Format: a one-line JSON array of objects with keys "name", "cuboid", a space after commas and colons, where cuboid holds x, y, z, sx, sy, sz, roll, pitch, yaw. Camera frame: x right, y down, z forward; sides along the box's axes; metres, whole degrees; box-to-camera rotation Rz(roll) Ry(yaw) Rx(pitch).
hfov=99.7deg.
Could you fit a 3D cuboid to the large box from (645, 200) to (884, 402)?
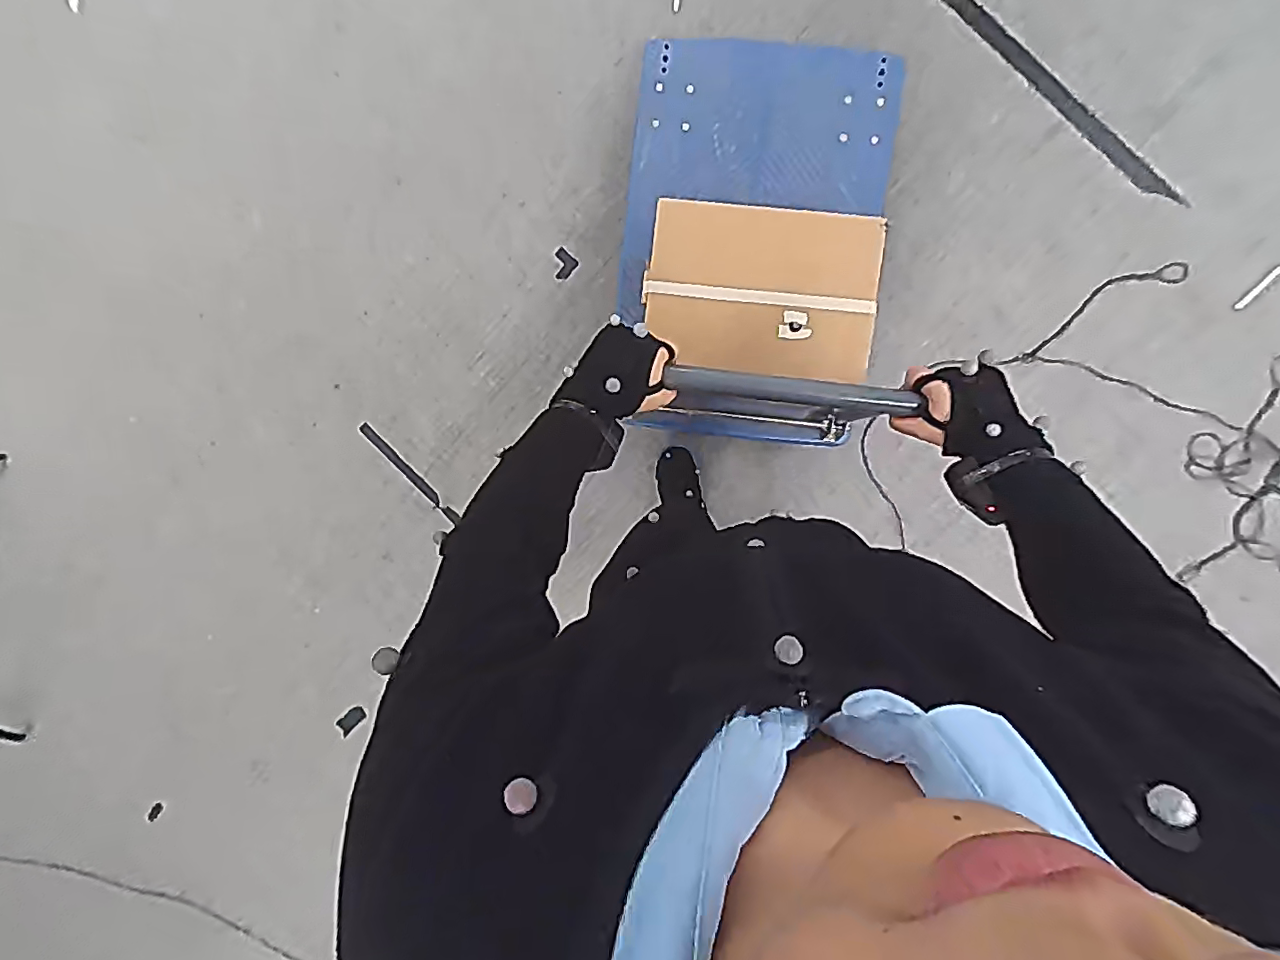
[{"name": "large box", "cuboid": [0.224, -0.341, 1.117, 0.408, 0.320, 0.320, 6, 95, 2]}]
